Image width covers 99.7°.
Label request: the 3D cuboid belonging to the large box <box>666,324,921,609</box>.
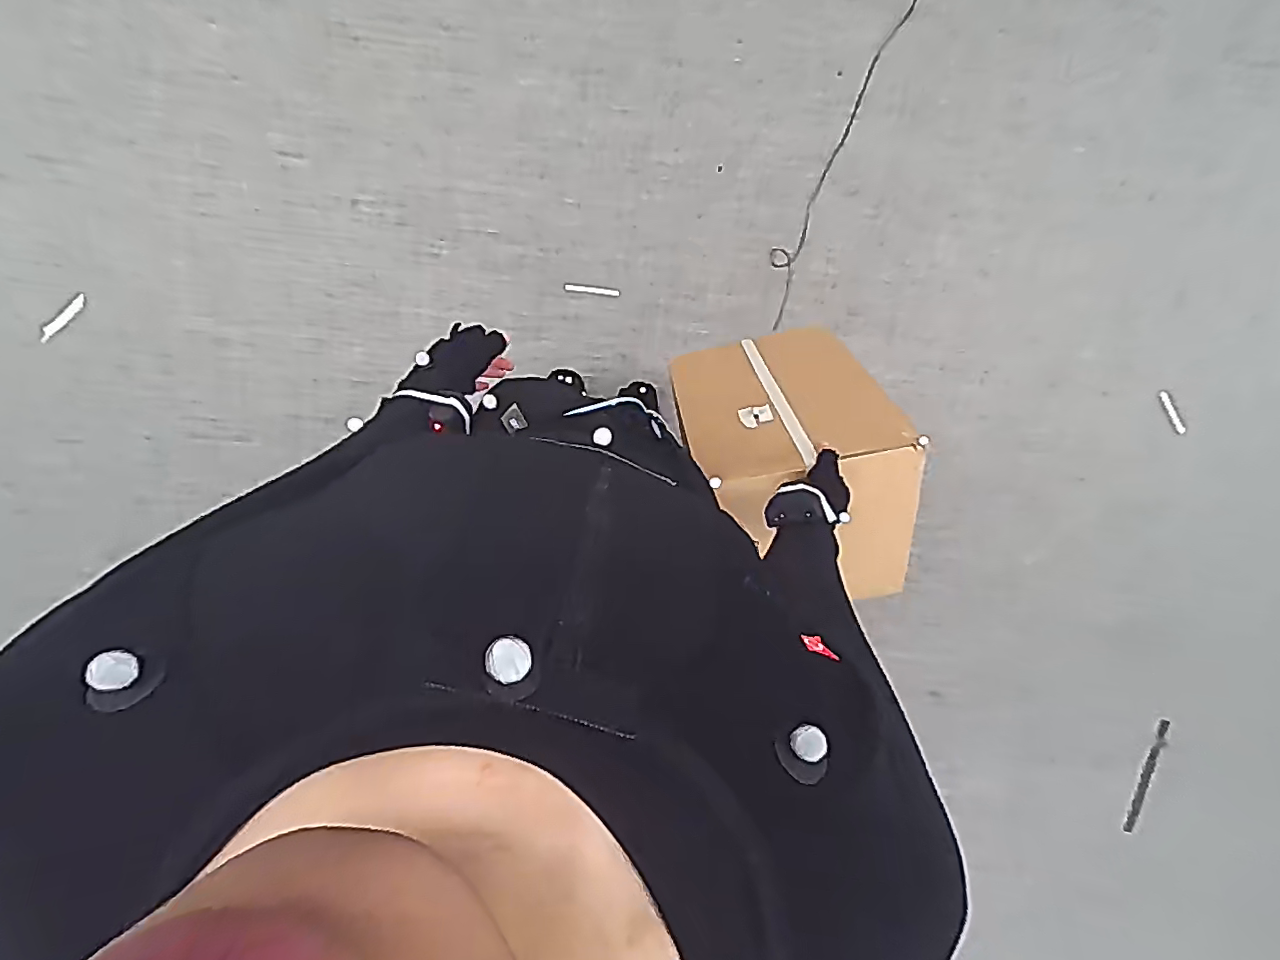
[{"bbox_3d":[0.245,-0.035,0.991,0.320,0.408,0.320,-12,130,4],"label":"large box"}]
